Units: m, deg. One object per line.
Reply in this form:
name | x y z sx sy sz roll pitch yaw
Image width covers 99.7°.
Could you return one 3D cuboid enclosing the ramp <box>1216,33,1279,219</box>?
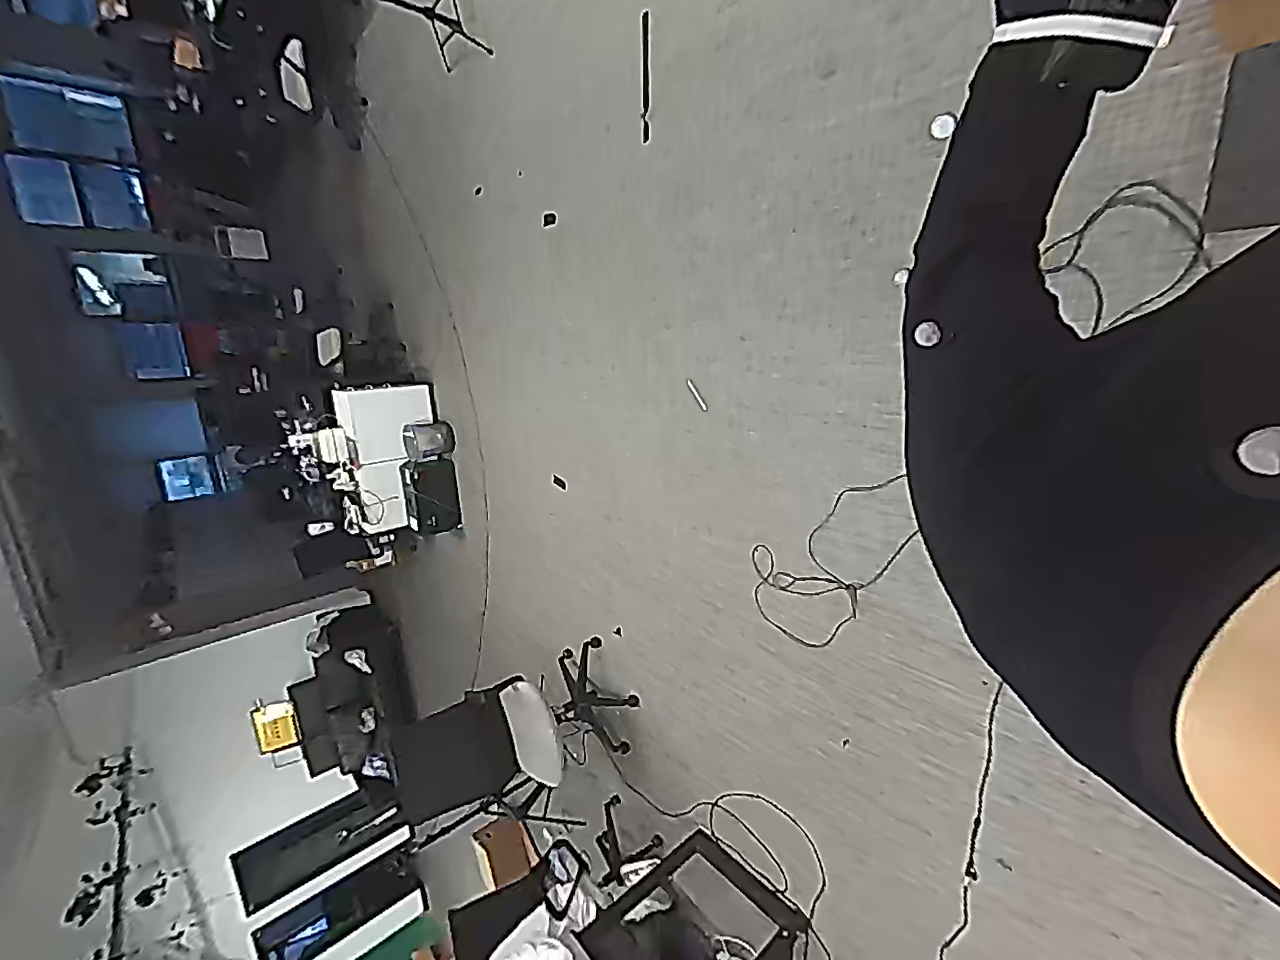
ramp | 1.128 -0.895 0.638 0.509 0.206 0.991 11 110 47
